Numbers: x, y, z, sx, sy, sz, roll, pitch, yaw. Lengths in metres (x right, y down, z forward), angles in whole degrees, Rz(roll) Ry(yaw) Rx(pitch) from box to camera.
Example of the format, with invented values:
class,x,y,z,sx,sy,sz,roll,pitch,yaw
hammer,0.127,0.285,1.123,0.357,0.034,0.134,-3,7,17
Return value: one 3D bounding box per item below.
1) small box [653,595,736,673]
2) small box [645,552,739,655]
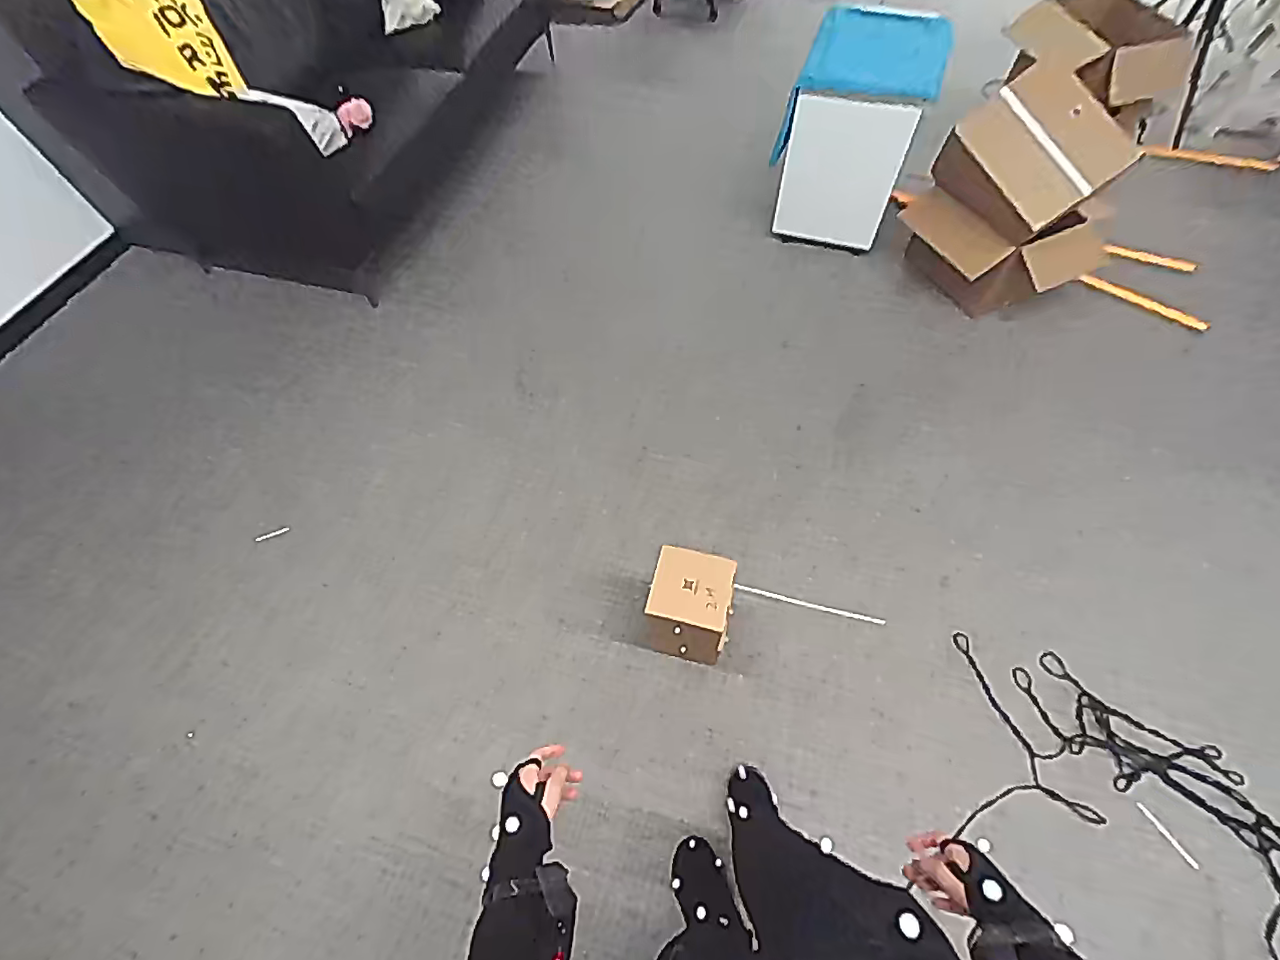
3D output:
class,x,y,z,sx,sy,sz,roll,pitch,yaw
small box,0.139,0.379,1.384,0.179,0.176,0.168,12,60,10
small box,0.121,0.290,1.246,0.179,0.176,0.168,12,61,11
